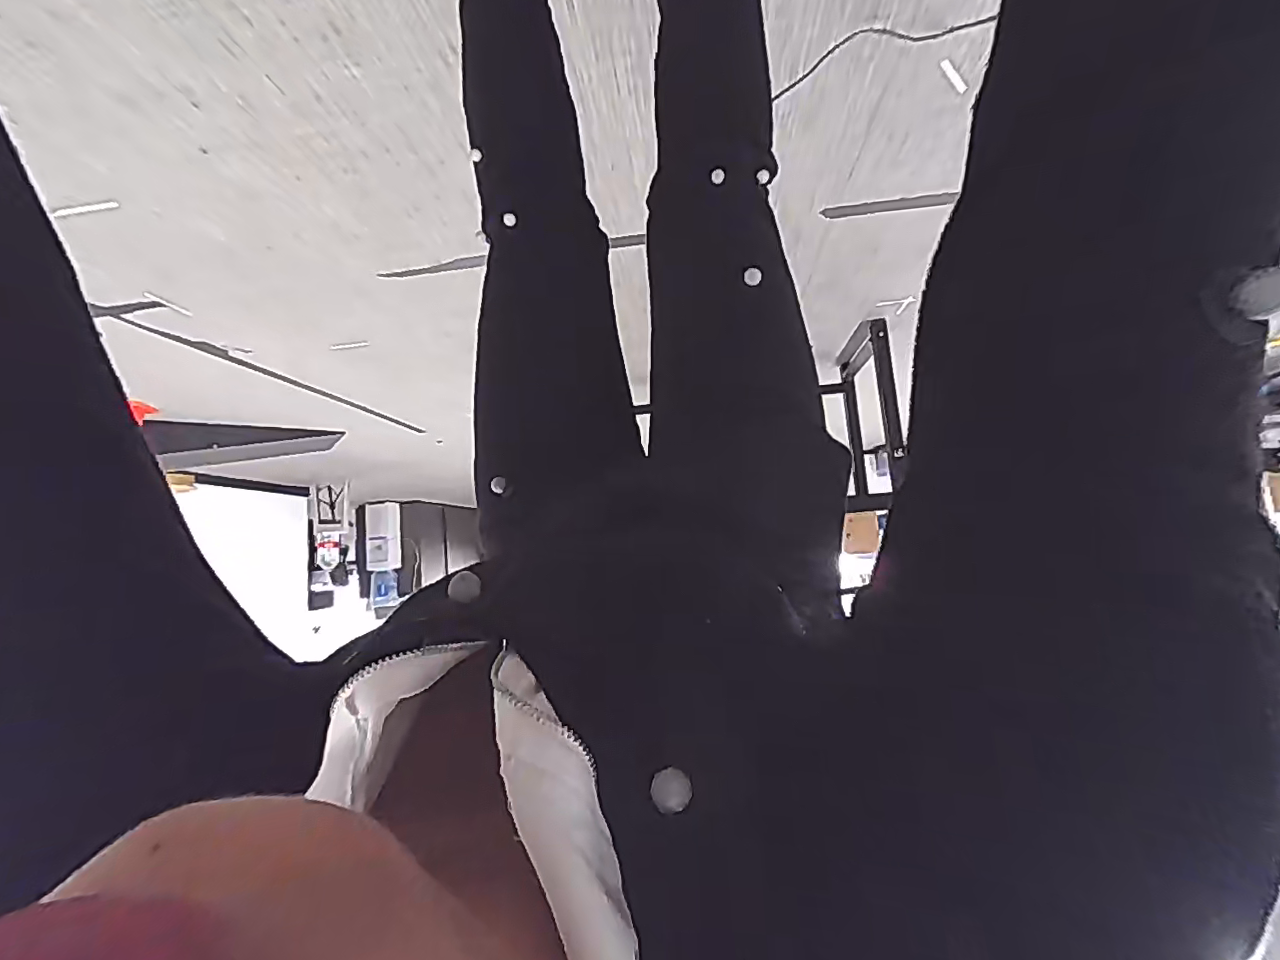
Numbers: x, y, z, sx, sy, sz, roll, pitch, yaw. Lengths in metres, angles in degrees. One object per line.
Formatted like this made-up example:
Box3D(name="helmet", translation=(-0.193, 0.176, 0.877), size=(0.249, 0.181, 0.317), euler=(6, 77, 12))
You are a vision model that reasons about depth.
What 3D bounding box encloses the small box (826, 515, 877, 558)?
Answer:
Box3D(name="small box", translation=(0.890, 0.236, 2.292), size=(0.168, 0.176, 0.179), euler=(-5, 174, 10))
